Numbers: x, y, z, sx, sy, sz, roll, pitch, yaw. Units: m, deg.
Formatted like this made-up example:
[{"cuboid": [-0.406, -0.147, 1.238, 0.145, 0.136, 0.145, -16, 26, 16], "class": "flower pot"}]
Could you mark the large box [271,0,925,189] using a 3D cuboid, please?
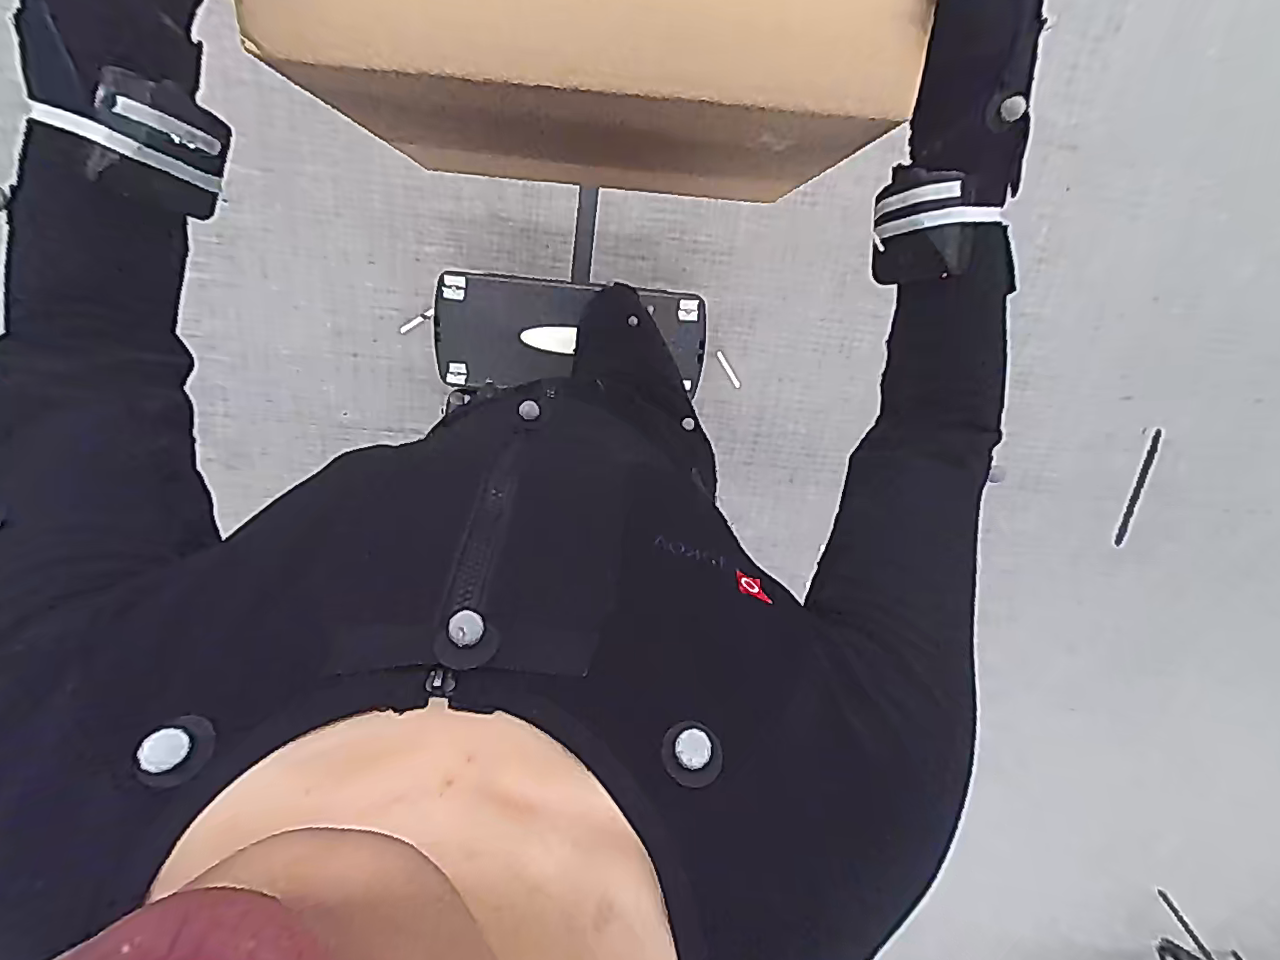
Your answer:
[{"cuboid": [-0.022, -0.444, 0.433, 0.408, 0.320, 0.320, 3, 109, -4], "class": "large box"}]

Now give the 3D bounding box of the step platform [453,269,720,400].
[{"cuboid": [-0.134, -0.379, 1.426, 0.684, 0.204, 0.286, 3, 107, -5], "class": "step platform"}]
